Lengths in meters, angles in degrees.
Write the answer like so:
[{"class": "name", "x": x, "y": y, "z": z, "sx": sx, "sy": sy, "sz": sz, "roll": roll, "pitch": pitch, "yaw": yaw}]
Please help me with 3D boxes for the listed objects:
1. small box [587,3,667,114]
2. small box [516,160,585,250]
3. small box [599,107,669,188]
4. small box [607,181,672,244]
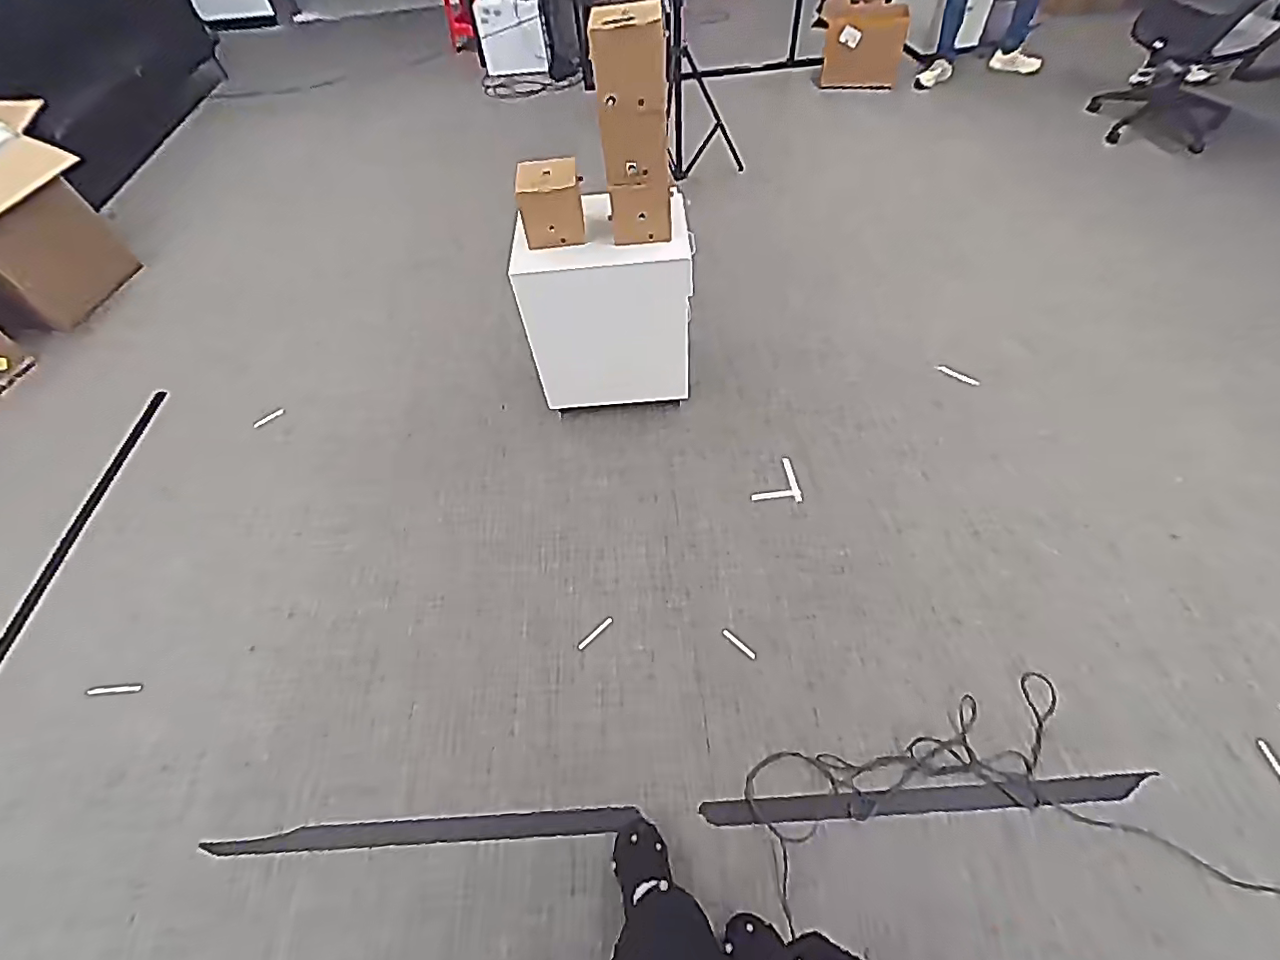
[{"class": "small box", "x": -0.025, "y": -0.987, "z": 1.277, "sx": 0.168, "sy": 0.176, "sz": 0.179, "roll": -3, "pitch": 53, "yaw": 5}, {"class": "small box", "x": -0.254, "y": -0.790, "z": 1.559, "sx": 0.168, "sy": 0.176, "sz": 0.179, "roll": -6, "pitch": 55, "yaw": 0}, {"class": "small box", "x": -0.013, "y": -0.893, "z": 1.411, "sx": 0.168, "sy": 0.176, "sz": 0.179, "roll": -5, "pitch": 55, "yaw": 4}, {"class": "small box", "x": 0.001, "y": -0.791, "z": 1.538, "sx": 0.168, "sy": 0.176, "sz": 0.179, "roll": -4, "pitch": 55, "yaw": 4}]
